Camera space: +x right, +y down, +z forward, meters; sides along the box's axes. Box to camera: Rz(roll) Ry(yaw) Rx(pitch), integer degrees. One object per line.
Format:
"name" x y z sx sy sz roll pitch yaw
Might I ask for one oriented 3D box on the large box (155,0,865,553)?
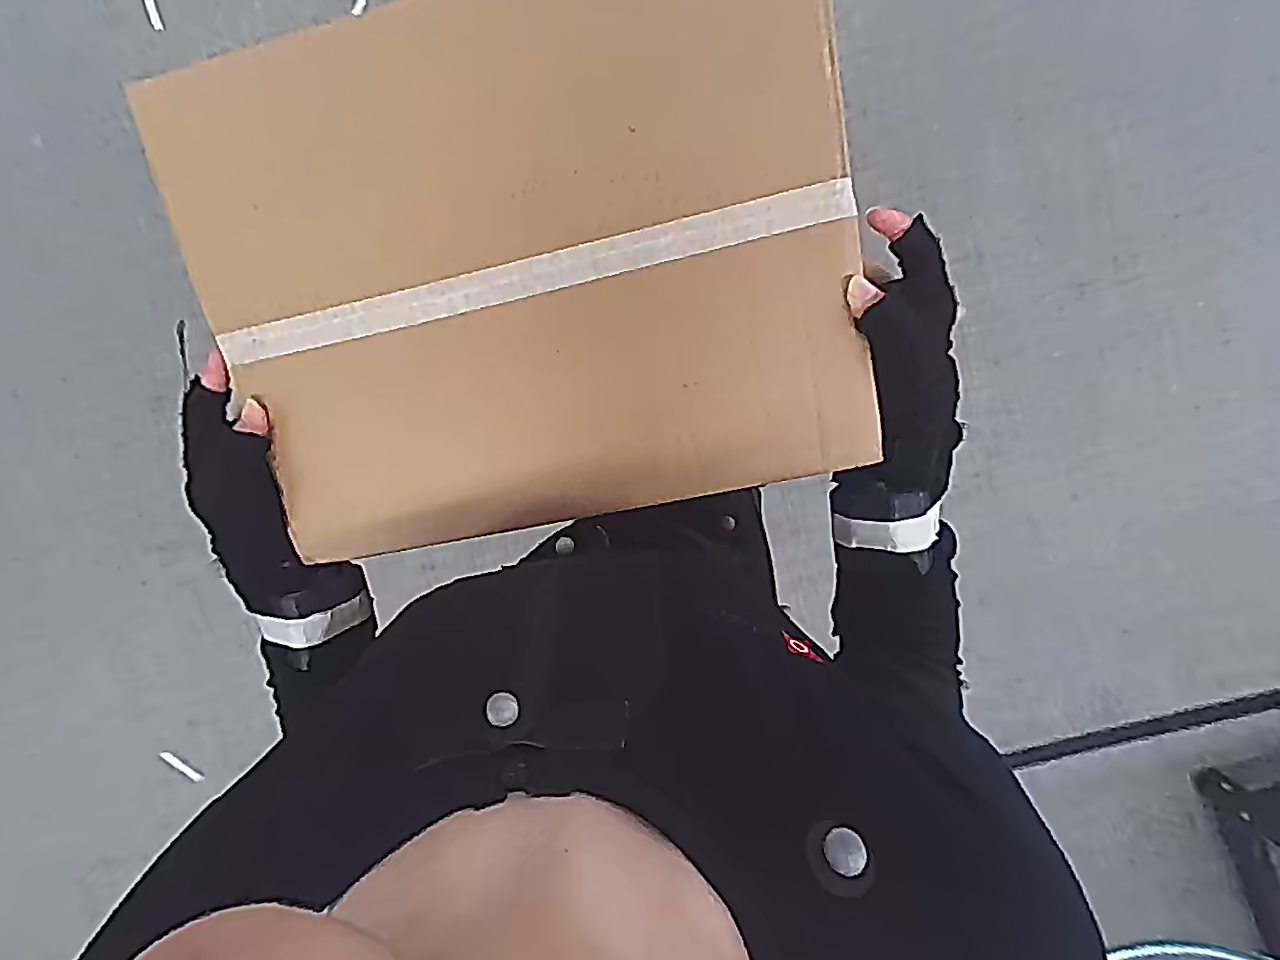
"large box" -0.065 -0.166 0.487 0.408 0.320 0.320 -11 102 7
